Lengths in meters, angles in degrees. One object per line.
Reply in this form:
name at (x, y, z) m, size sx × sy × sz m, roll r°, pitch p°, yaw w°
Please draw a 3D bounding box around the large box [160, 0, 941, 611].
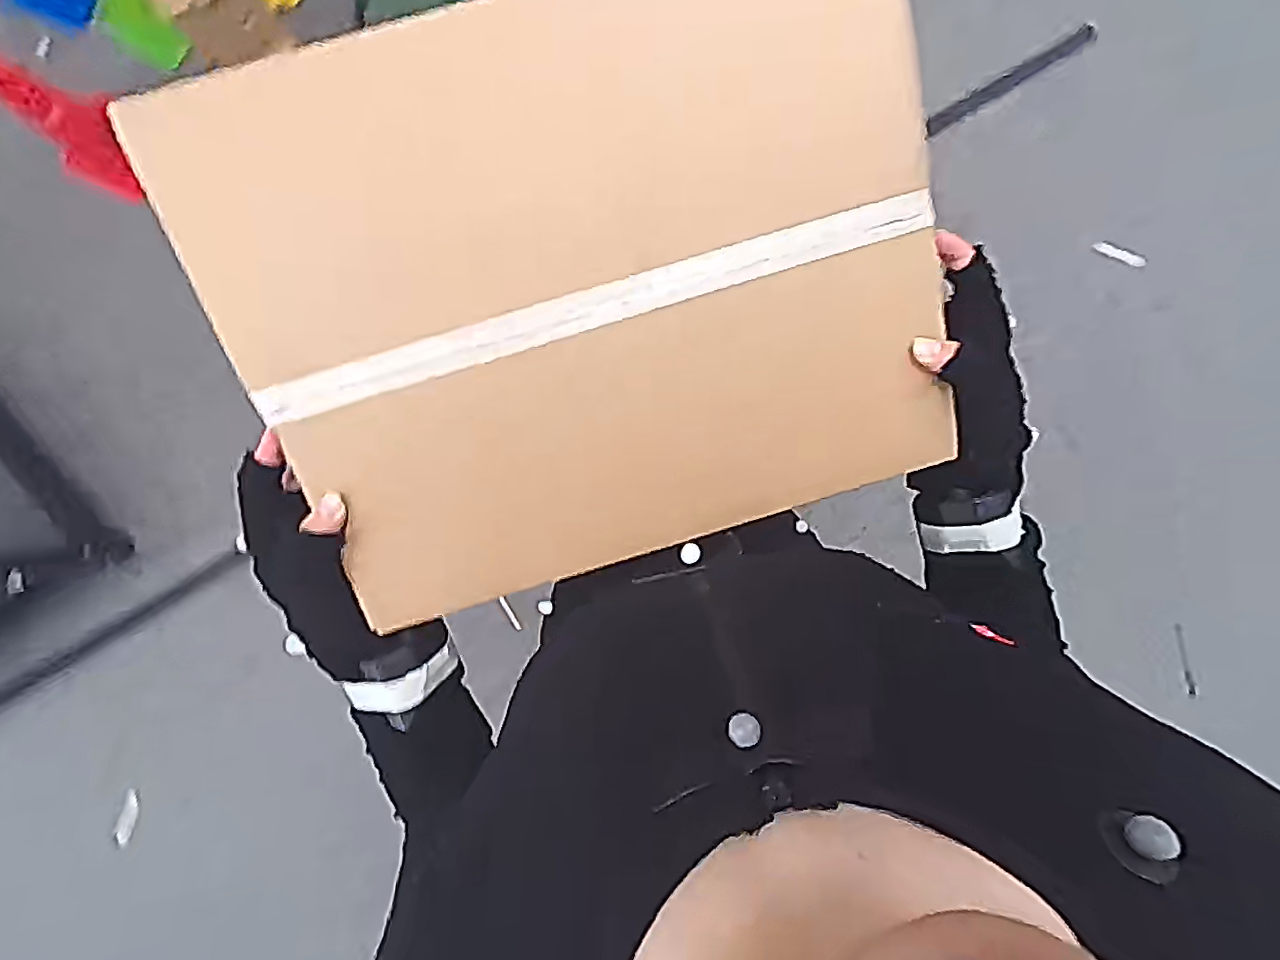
large box at (-0.038, -0.146, 0.467) m, size 0.408 × 0.320 × 0.320 m, roll -16°, pitch 108°, yaw -1°
